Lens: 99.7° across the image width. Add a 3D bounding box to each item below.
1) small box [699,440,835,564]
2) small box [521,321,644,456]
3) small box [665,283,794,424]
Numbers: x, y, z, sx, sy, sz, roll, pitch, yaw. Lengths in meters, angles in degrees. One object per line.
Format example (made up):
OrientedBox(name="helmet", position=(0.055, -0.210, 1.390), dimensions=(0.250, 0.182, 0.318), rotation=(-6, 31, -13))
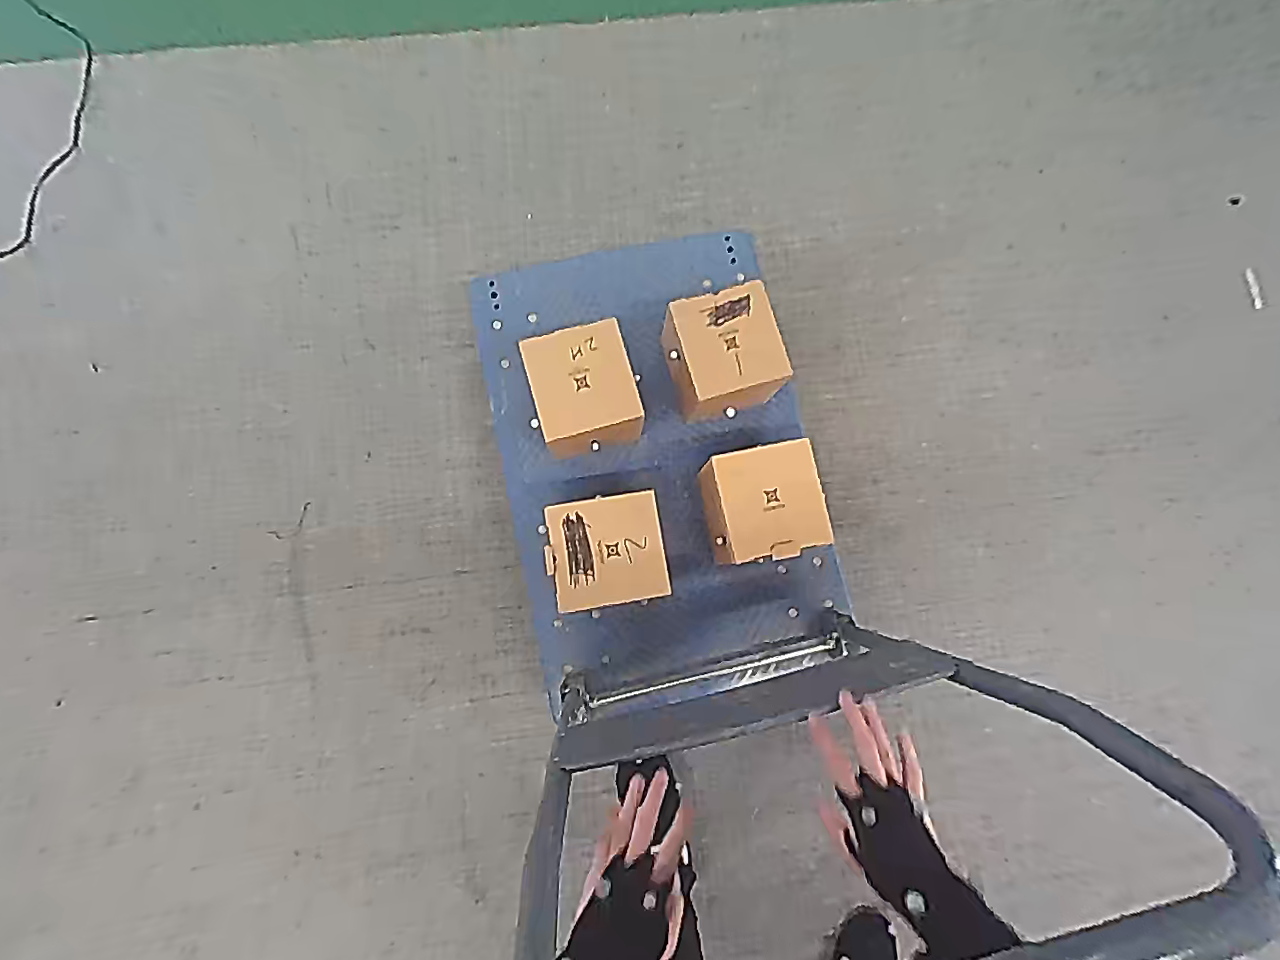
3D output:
OrientedBox(name="small box", position=(0.206, 0.045, 0.932), dimensions=(0.168, 0.176, 0.179), rotation=(-11, 83, -4))
OrientedBox(name="small box", position=(-0.095, -0.147, 0.944), dimensions=(0.168, 0.176, 0.179), rotation=(-15, 83, -5))
OrientedBox(name="small box", position=(0.148, -0.217, 0.965), dimensions=(0.168, 0.176, 0.179), rotation=(-16, 84, -4))
